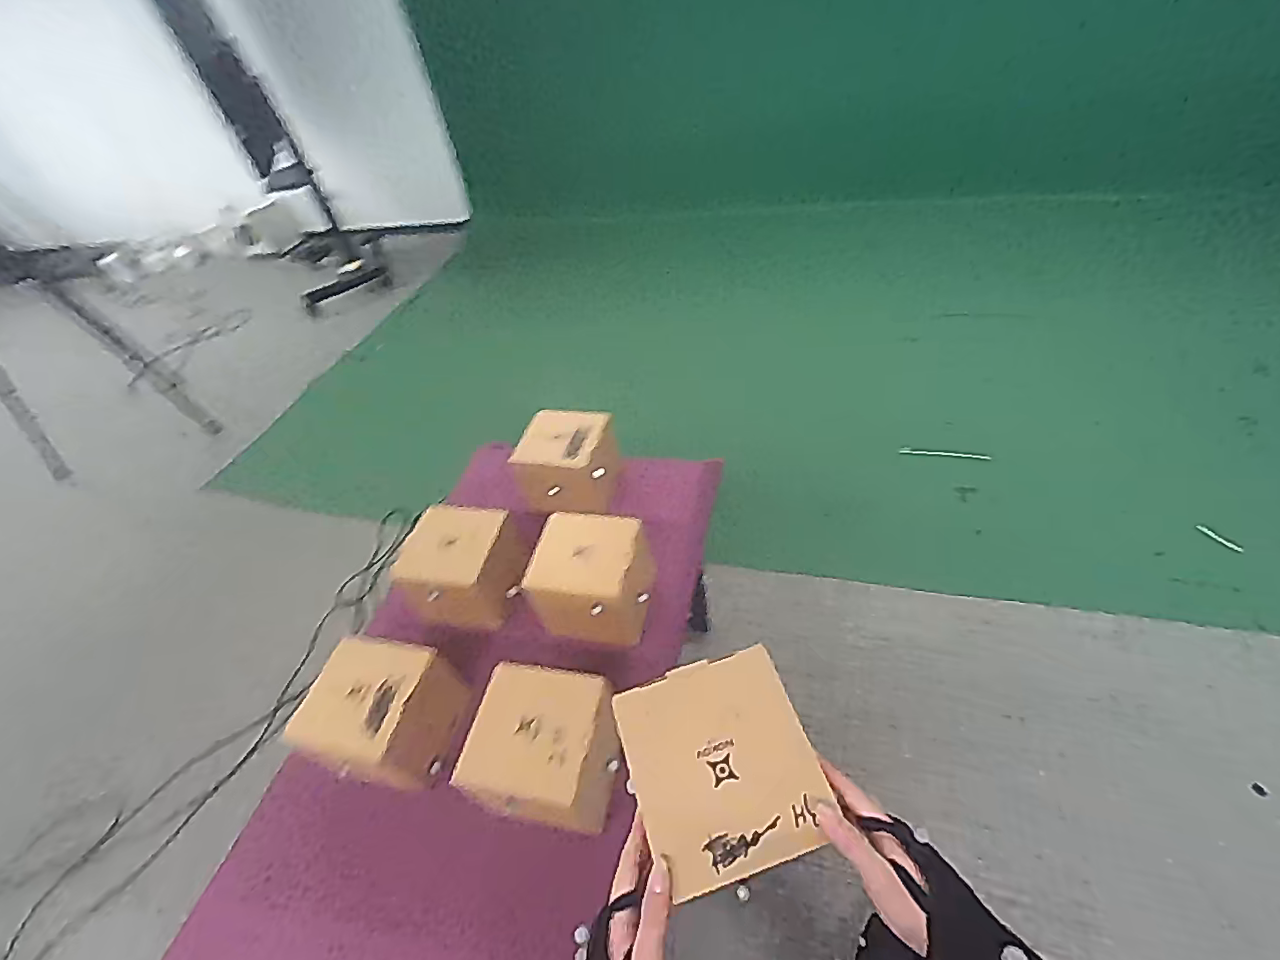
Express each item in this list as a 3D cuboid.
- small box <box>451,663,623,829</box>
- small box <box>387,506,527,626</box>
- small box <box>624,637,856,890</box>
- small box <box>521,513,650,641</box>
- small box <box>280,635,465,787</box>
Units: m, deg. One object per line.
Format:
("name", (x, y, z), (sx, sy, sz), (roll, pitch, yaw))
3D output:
("small box", (-0.139, 0.394, 0.800), (0.179, 0.176, 0.168), (3, 48, 15))
("small box", (-0.346, 0.170, 1.060), (0.179, 0.176, 0.168), (4, 49, 13))
("small box", (0.091, 0.295, 0.558), (0.168, 0.176, 0.179), (-17, 52, -4))
("small box", (-0.089, 0.180, 0.999), (0.179, 0.176, 0.168), (3, 47, 15))
("small box", (-0.414, 0.376, 0.874), (0.179, 0.176, 0.168), (4, 47, 15))
